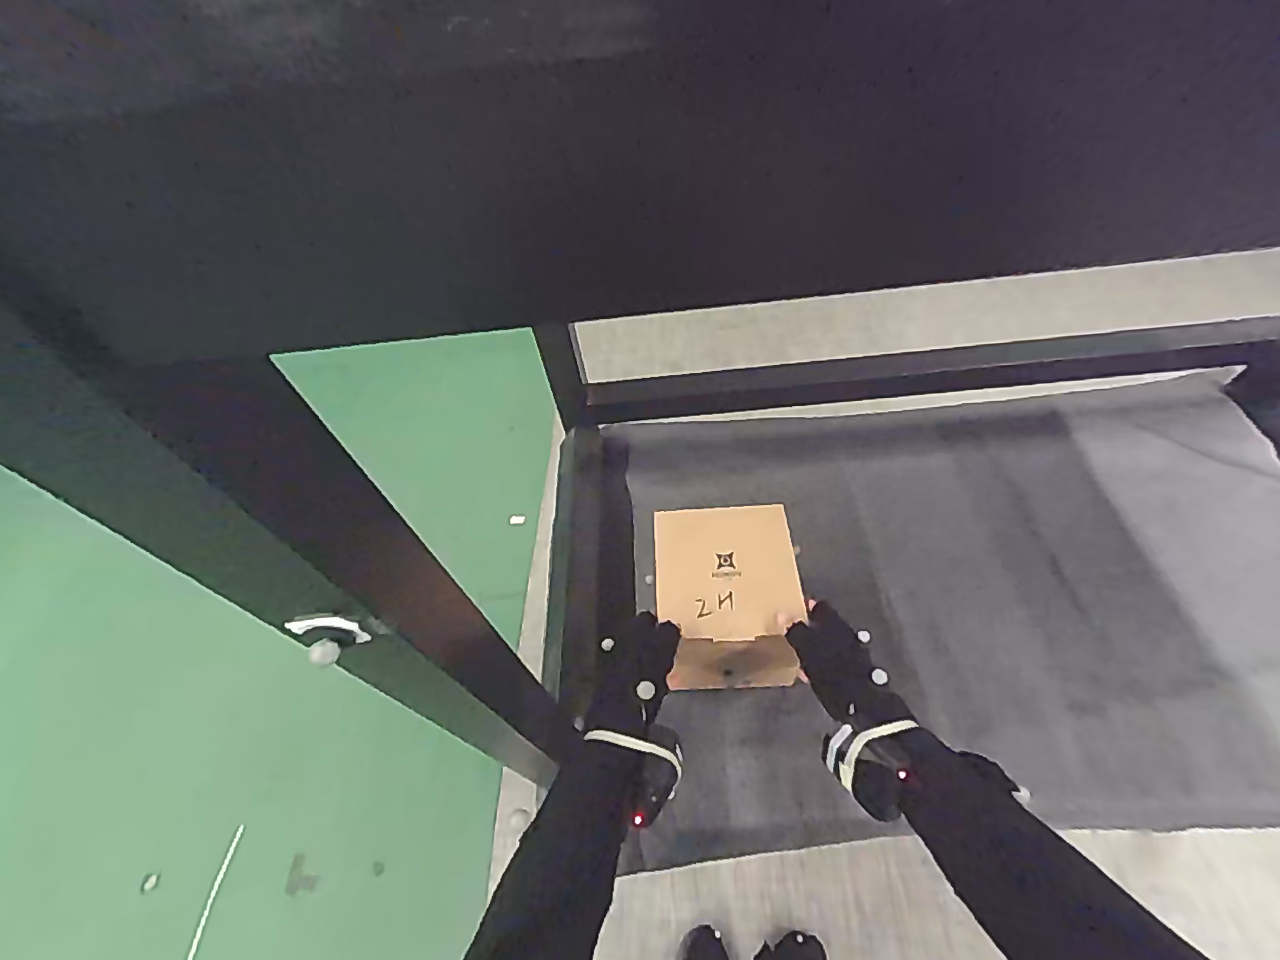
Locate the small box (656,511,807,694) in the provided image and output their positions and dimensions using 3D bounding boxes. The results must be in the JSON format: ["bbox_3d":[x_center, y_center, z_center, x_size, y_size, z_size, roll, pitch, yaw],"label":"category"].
[{"bbox_3d":[0.106,0.160,0.699,0.168,0.176,0.179,-4,52,4],"label":"small box"}]
